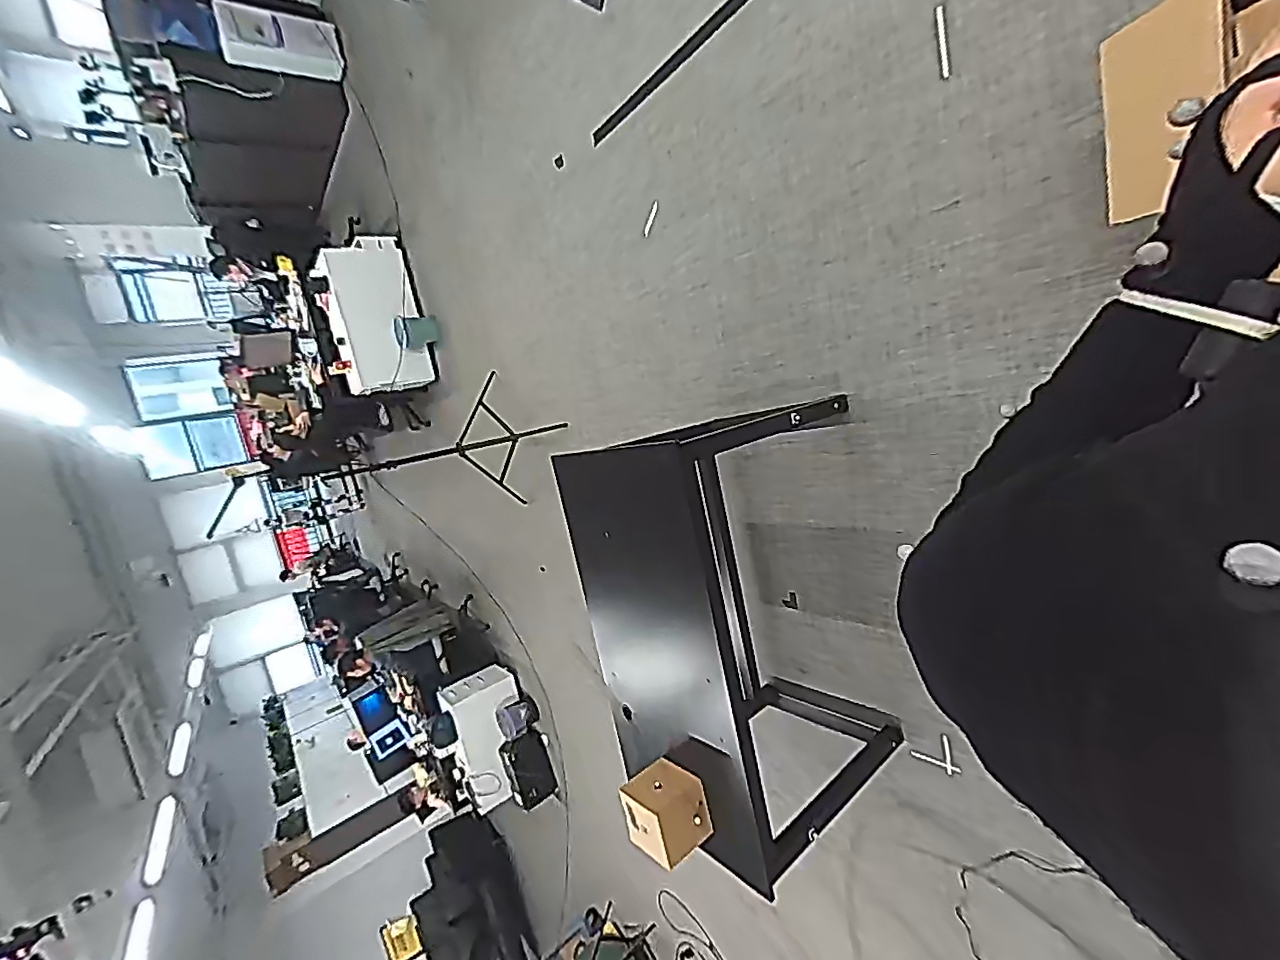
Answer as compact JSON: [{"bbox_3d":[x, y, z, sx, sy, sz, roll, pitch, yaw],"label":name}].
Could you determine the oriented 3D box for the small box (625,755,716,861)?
[{"bbox_3d":[0.086,0.912,1.528,0.179,0.176,0.168,-5,101,53],"label":"small box"}]
